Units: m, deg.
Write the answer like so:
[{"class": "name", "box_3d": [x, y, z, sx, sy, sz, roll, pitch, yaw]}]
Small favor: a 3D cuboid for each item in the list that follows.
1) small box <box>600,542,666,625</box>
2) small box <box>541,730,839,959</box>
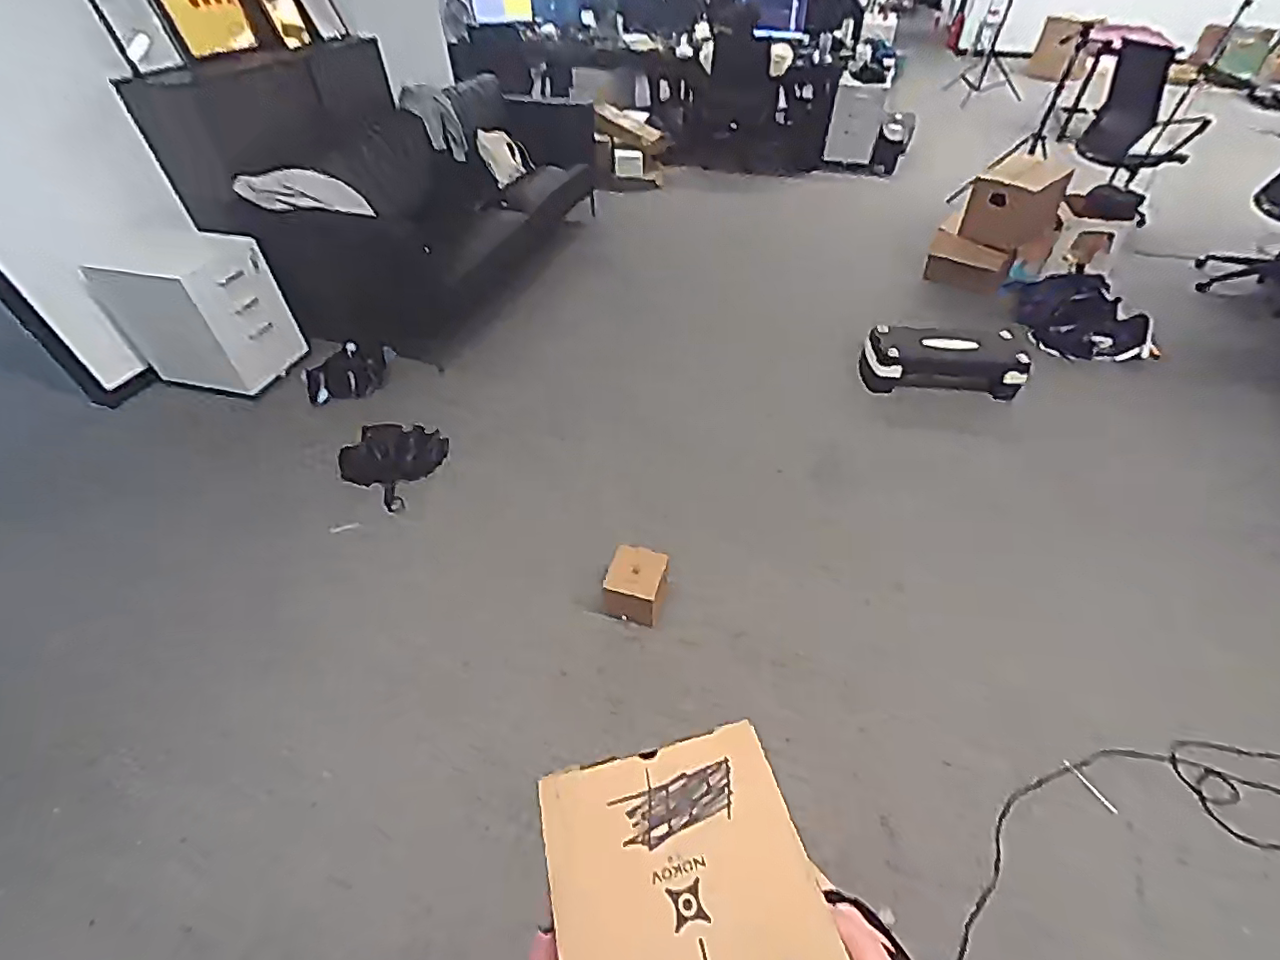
[{"class": "small box", "box_3d": [-0.020, 0.332, 1.730, 0.168, 0.176, 0.179, 12, 48, 13]}, {"class": "small box", "box_3d": [0.025, 0.318, 0.394, 0.168, 0.176, 0.179, -10, 45, -10]}]
